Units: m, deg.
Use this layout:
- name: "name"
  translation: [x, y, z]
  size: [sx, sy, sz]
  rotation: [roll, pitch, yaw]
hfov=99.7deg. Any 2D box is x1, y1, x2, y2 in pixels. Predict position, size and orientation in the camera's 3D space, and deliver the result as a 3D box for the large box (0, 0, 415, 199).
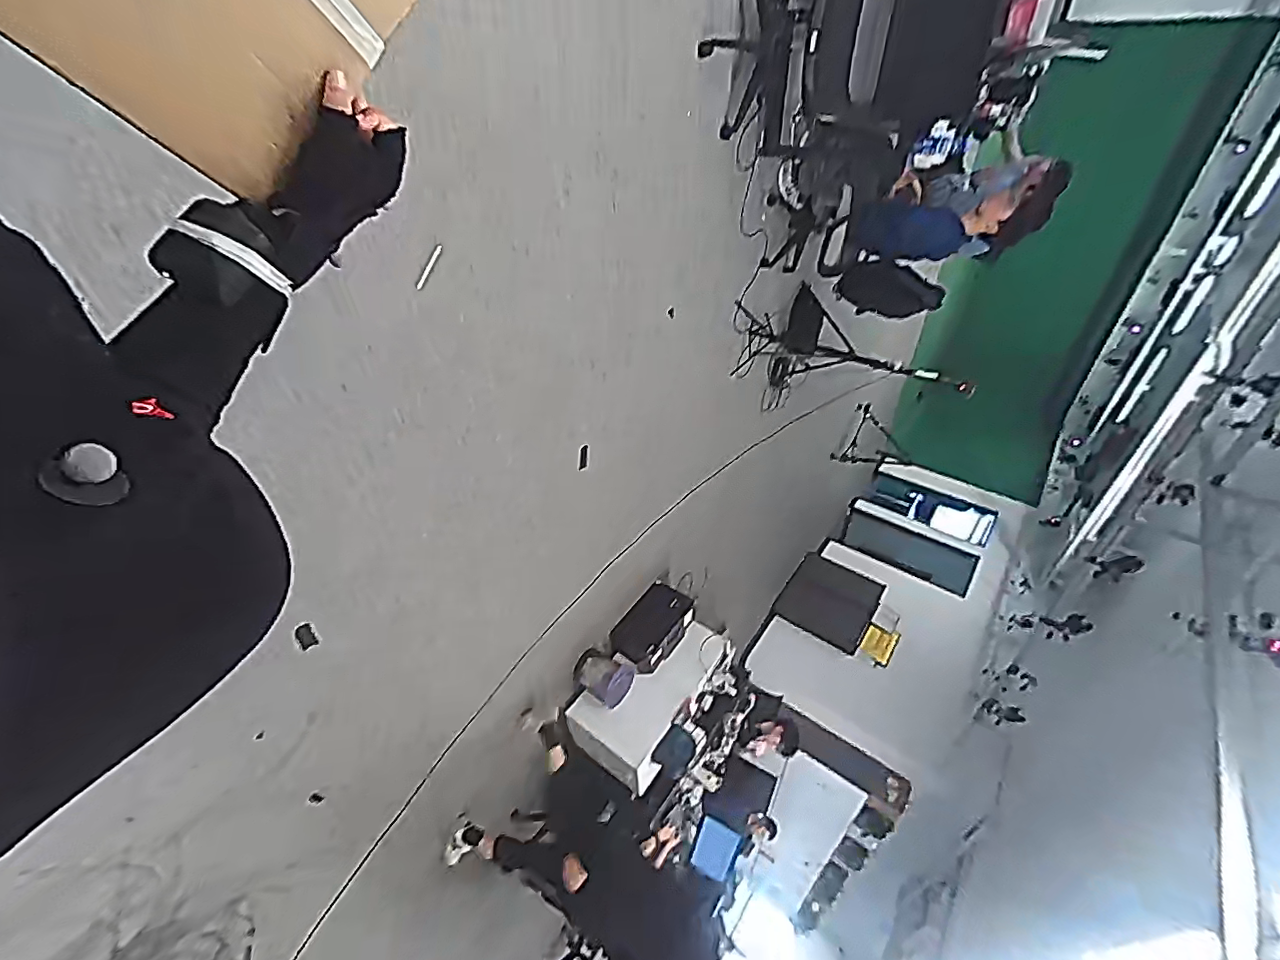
- name: "large box"
  translation: [-0.404, -0.482, 0.345]
  size: [0.320, 0.320, 0.408]
  rotation: [-53, 151, 2]
